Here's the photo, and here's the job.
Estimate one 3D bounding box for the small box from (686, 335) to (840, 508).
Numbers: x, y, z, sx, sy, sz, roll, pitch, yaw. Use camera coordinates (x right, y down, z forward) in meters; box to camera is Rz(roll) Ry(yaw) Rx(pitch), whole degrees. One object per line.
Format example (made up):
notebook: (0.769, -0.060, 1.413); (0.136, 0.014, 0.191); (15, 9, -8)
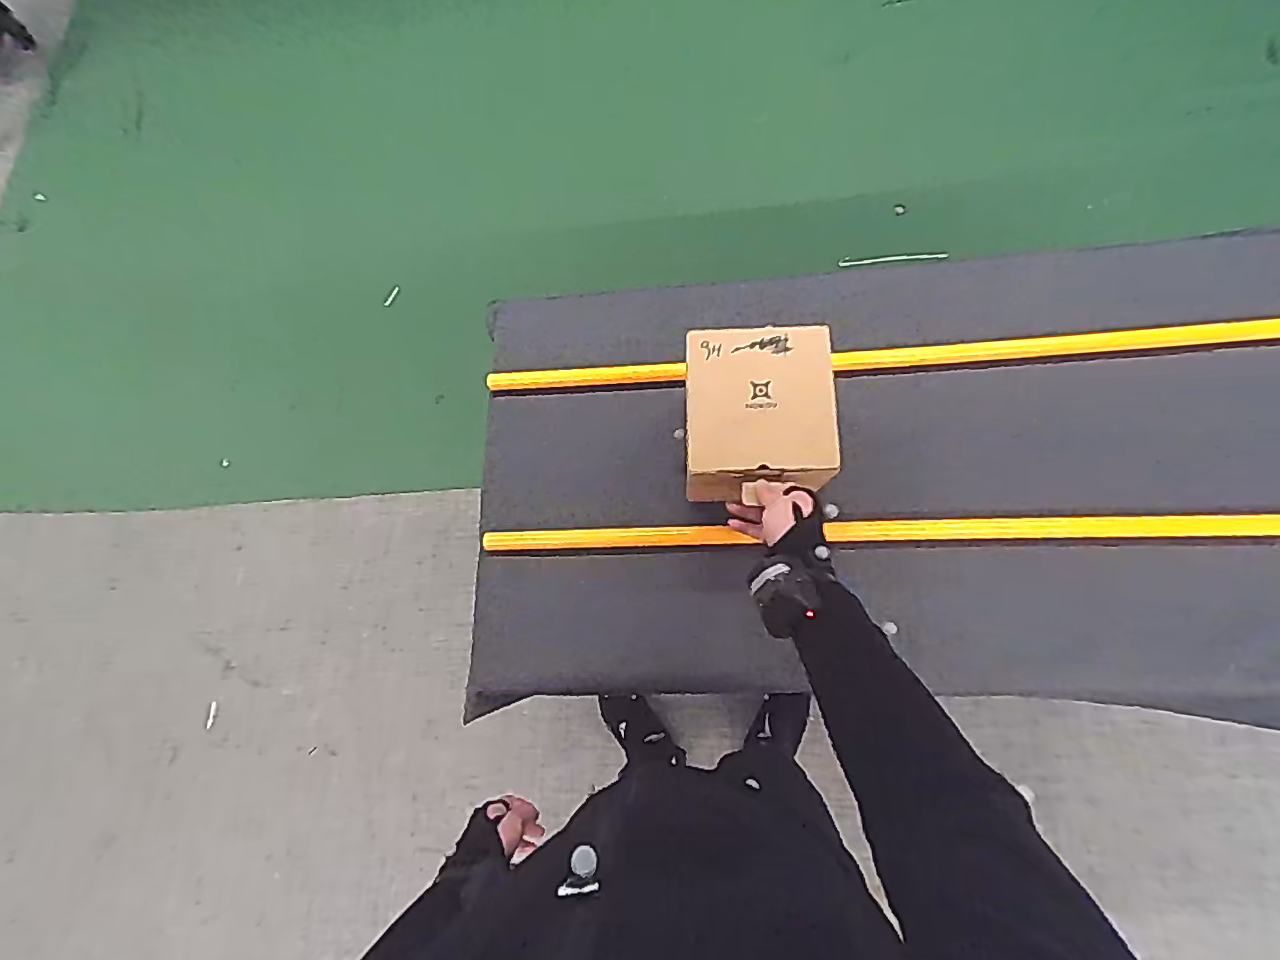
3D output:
small box: (0.150, -0.062, 0.702); (0.168, 0.176, 0.179); (-4, 74, 7)
